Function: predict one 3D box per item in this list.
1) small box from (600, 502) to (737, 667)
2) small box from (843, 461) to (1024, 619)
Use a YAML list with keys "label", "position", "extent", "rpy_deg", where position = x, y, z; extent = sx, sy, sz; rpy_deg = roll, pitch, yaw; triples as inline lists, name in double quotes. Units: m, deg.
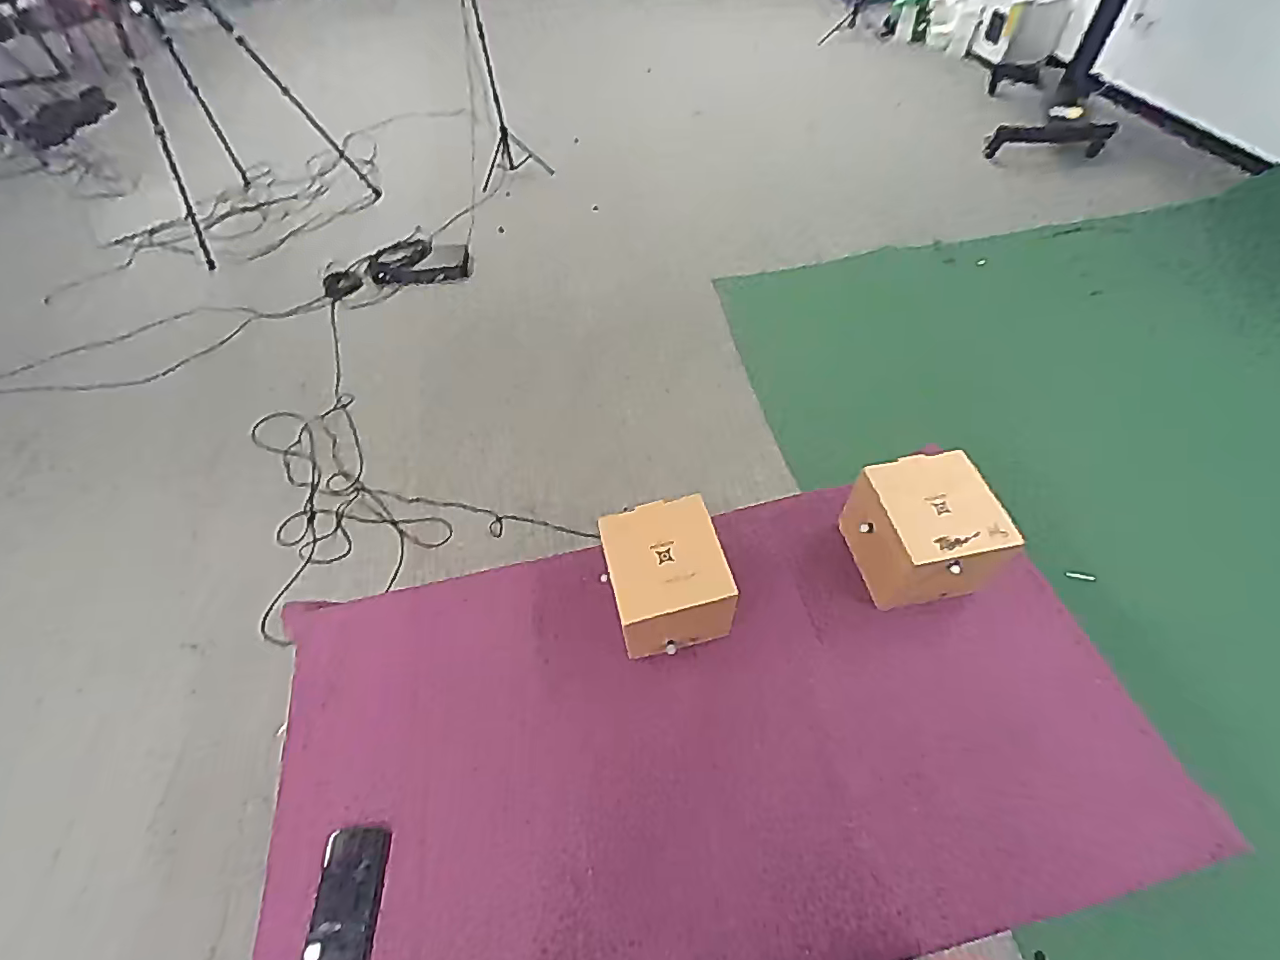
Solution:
- label: "small box"
  position: [0.039, 0.163, 0.835]
  extent: [0.168, 0.176, 0.179]
  rpy_deg: [-13, 54, -5]
- label: "small box"
  position: [0.444, 0.097, 0.858]
  extent: [0.168, 0.176, 0.179]
  rpy_deg: [-10, 53, -3]
